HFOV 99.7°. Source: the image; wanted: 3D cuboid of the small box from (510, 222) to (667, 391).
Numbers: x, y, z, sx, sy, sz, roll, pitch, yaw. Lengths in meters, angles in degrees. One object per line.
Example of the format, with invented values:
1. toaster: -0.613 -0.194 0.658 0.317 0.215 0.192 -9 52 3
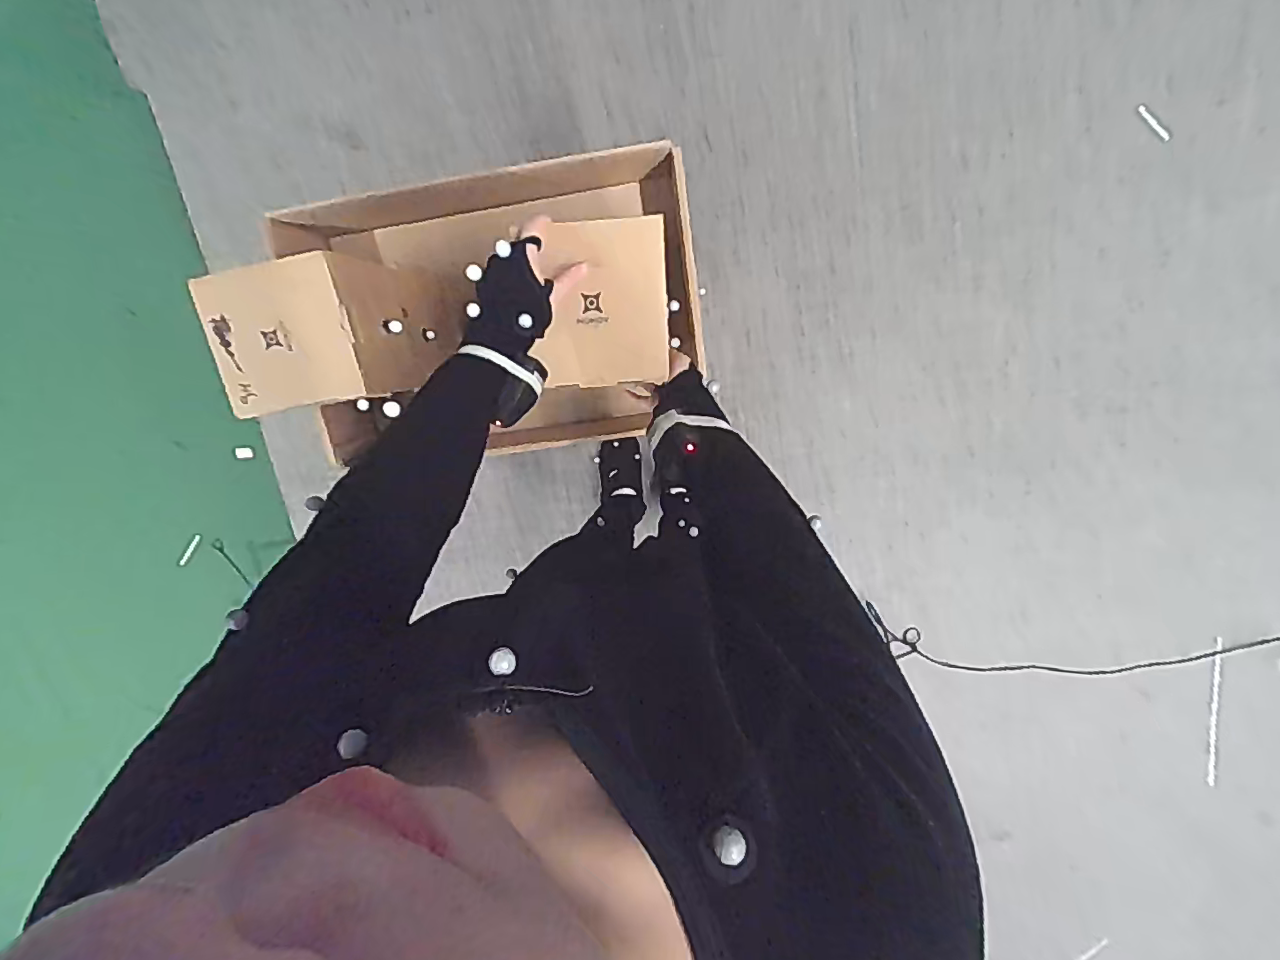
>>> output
1. small box: -0.051 -0.210 0.670 0.168 0.176 0.179 -2 106 3

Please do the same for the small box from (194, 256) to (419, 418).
1. small box: -0.413 -0.184 0.710 0.179 0.176 0.168 -8 103 5
